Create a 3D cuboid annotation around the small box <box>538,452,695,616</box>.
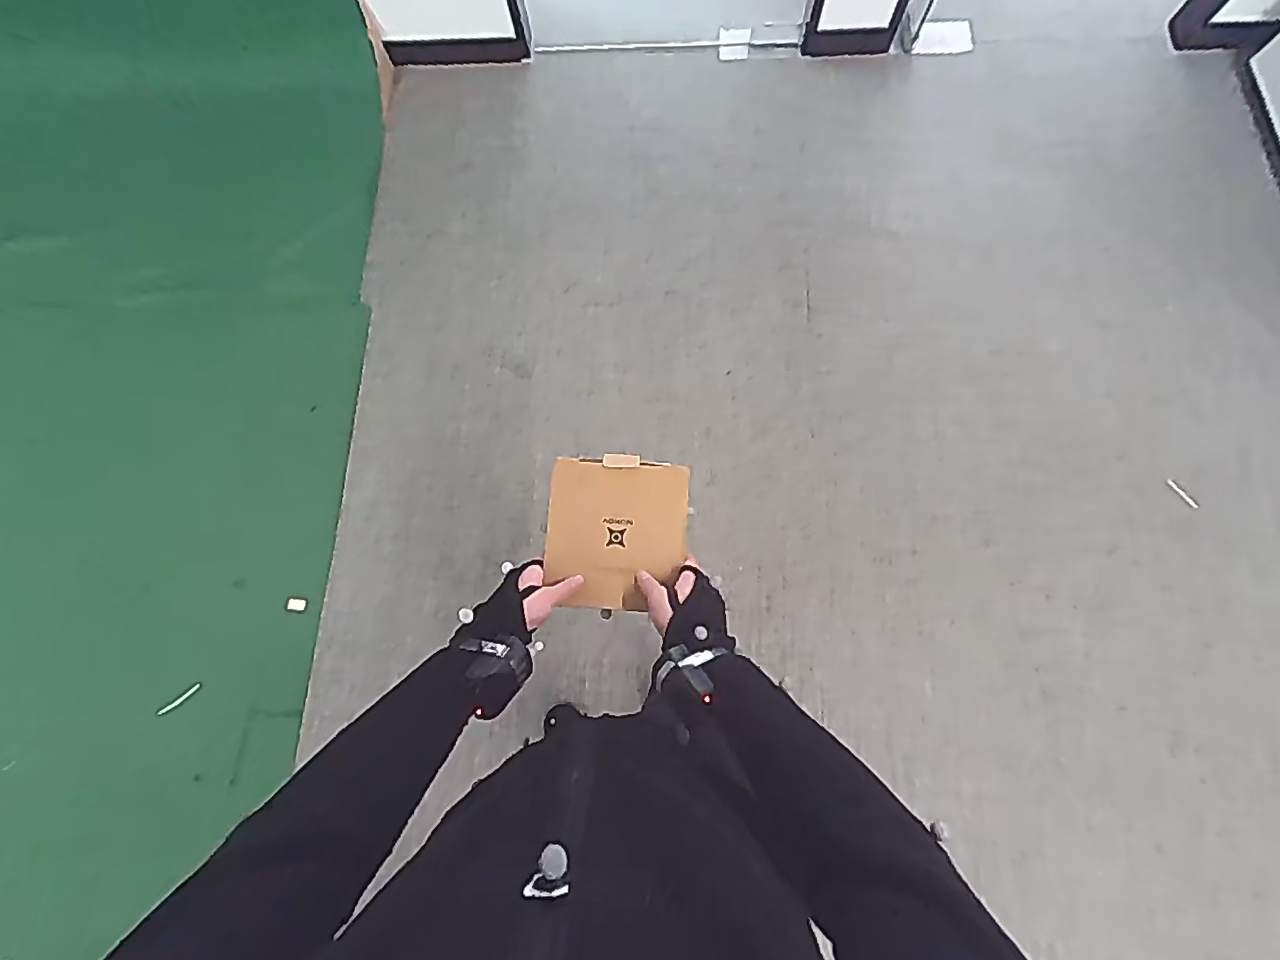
[{"bbox_3d":[-0.024,0.075,0.696,0.168,0.176,0.179,5,79,2],"label":"small box"}]
